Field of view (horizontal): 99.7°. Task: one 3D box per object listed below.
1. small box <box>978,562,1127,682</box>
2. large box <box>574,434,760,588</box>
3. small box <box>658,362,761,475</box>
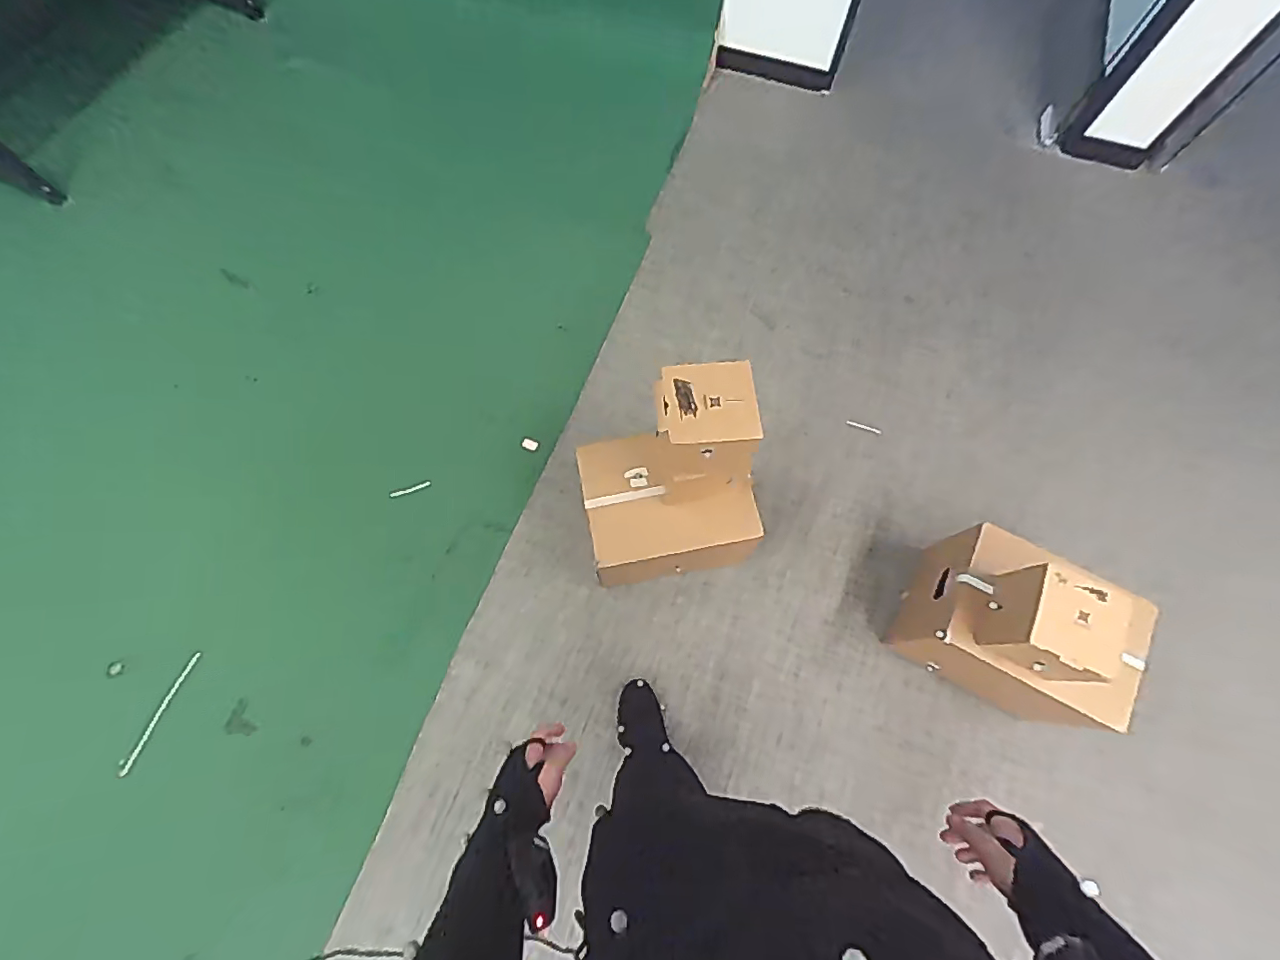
[{"bbox_3d":[0.840,0.296,1.118,0.168,0.176,0.179,26,73,8],"label":"small box"},{"bbox_3d":[0.061,0.080,1.442,0.408,0.320,0.320,-11,70,-4],"label":"large box"},{"bbox_3d":[0.128,-0.116,1.078,0.179,0.176,0.168,-4,70,-3],"label":"small box"}]
